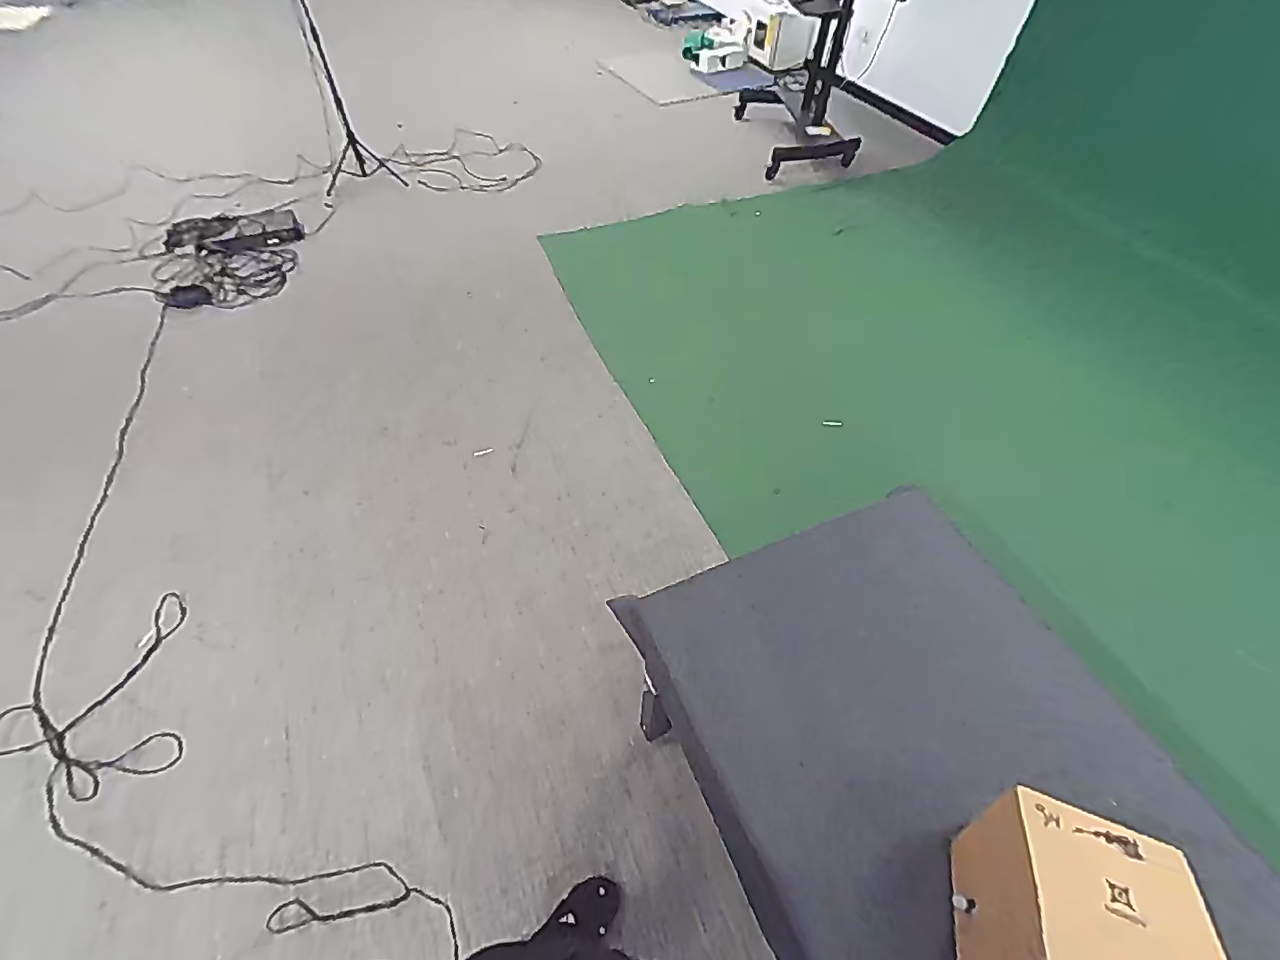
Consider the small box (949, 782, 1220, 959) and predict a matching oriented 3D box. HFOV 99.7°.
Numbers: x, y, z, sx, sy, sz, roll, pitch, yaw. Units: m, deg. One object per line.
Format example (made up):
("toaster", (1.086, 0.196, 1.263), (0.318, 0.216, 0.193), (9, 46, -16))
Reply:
("small box", (0.447, 0.473, 0.567), (0.168, 0.176, 0.179), (21, 38, 15))
